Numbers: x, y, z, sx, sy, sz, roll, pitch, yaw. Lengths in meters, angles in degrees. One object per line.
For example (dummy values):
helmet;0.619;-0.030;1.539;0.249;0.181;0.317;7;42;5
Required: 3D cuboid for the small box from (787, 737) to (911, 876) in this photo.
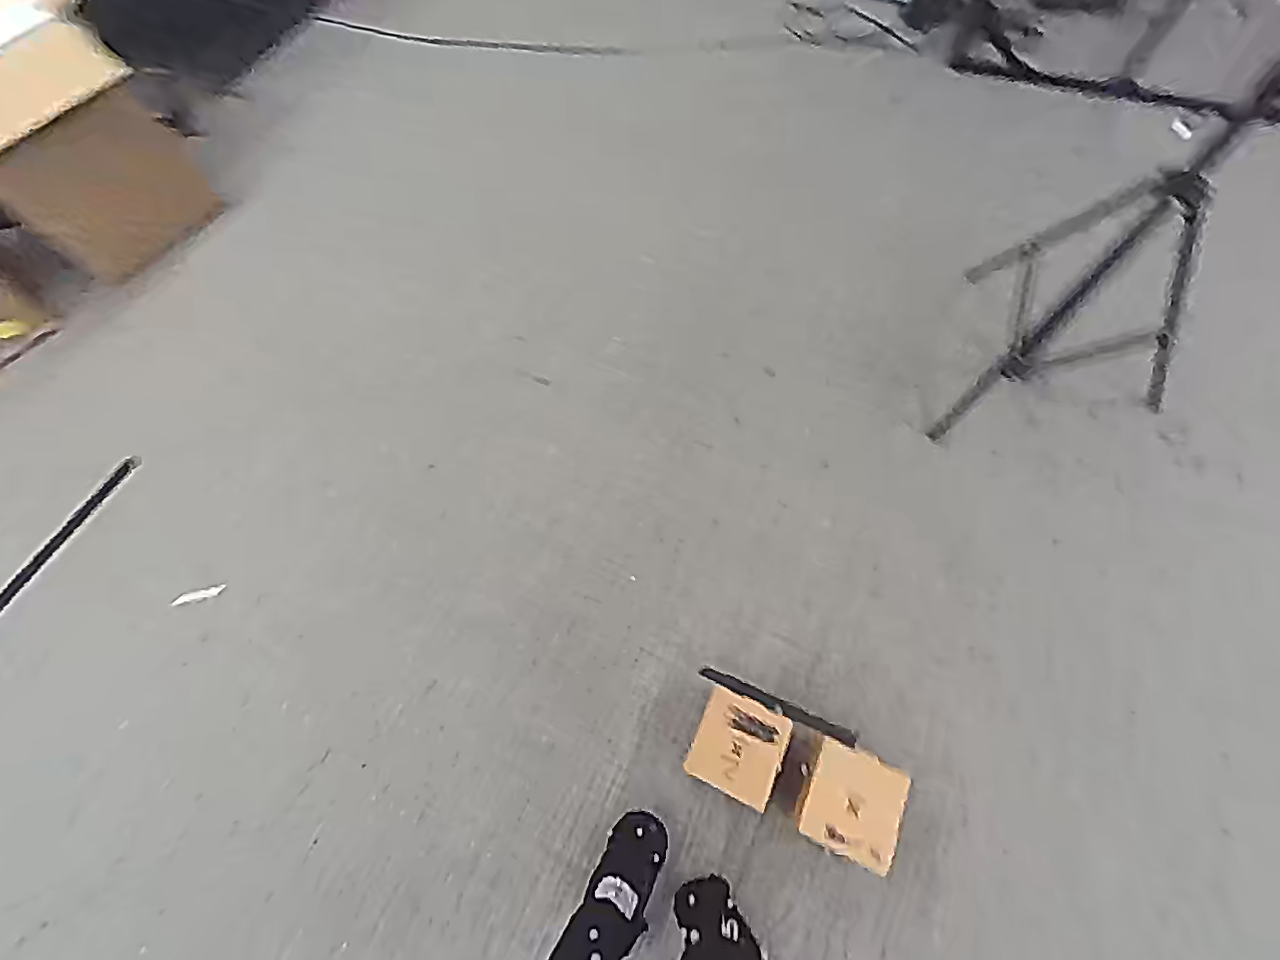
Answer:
small box;0.406;0.634;1.076;0.168;0.176;0.179;22;69;14
